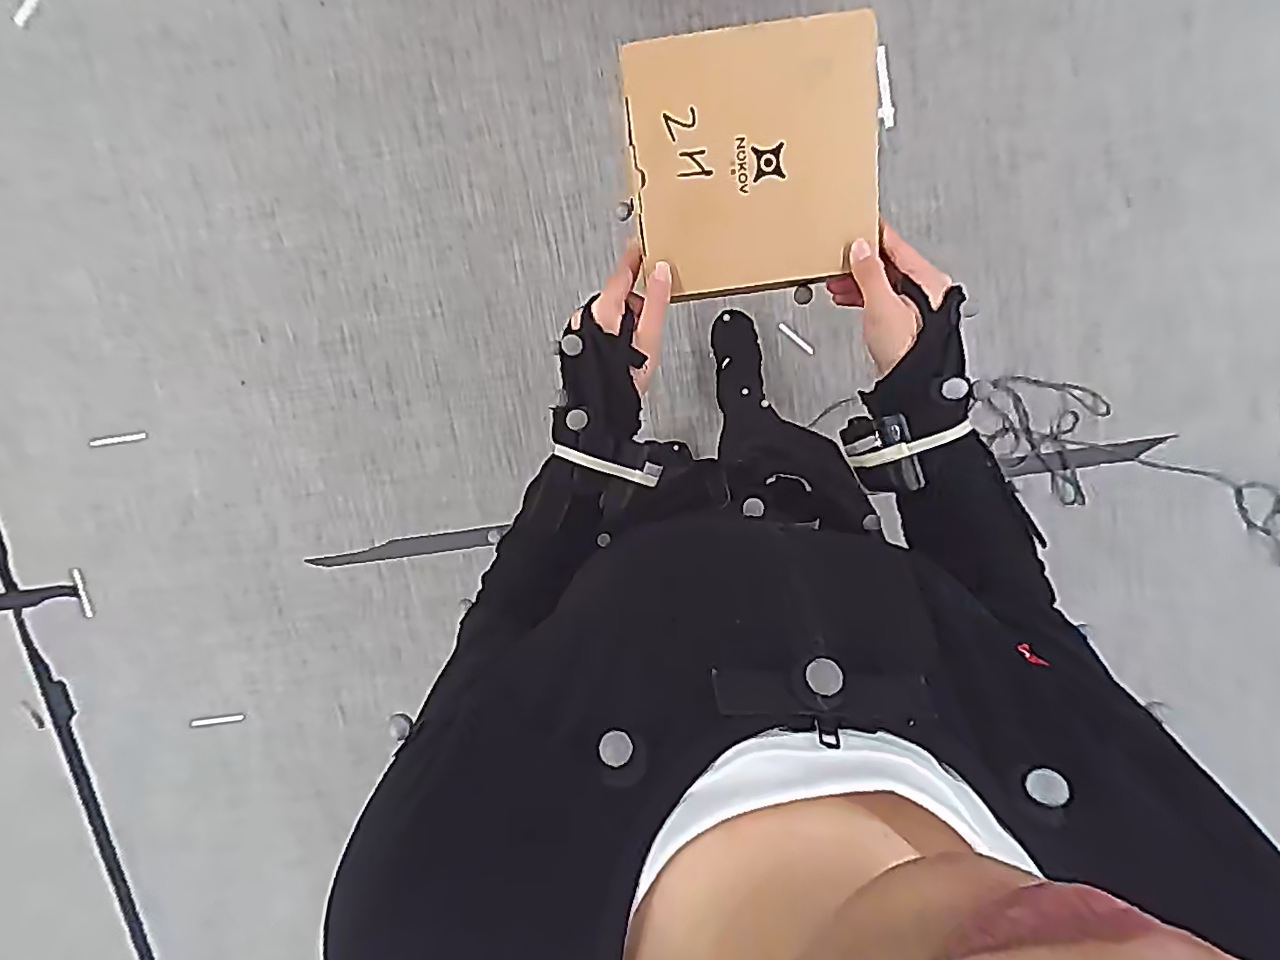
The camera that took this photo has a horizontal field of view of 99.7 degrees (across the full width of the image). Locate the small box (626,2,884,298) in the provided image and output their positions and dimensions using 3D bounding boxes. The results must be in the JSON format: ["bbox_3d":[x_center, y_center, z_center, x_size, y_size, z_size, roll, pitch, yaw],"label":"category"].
[{"bbox_3d":[0.082,-0.251,0.456,0.179,0.176,0.168,-7,105,1],"label":"small box"}]
